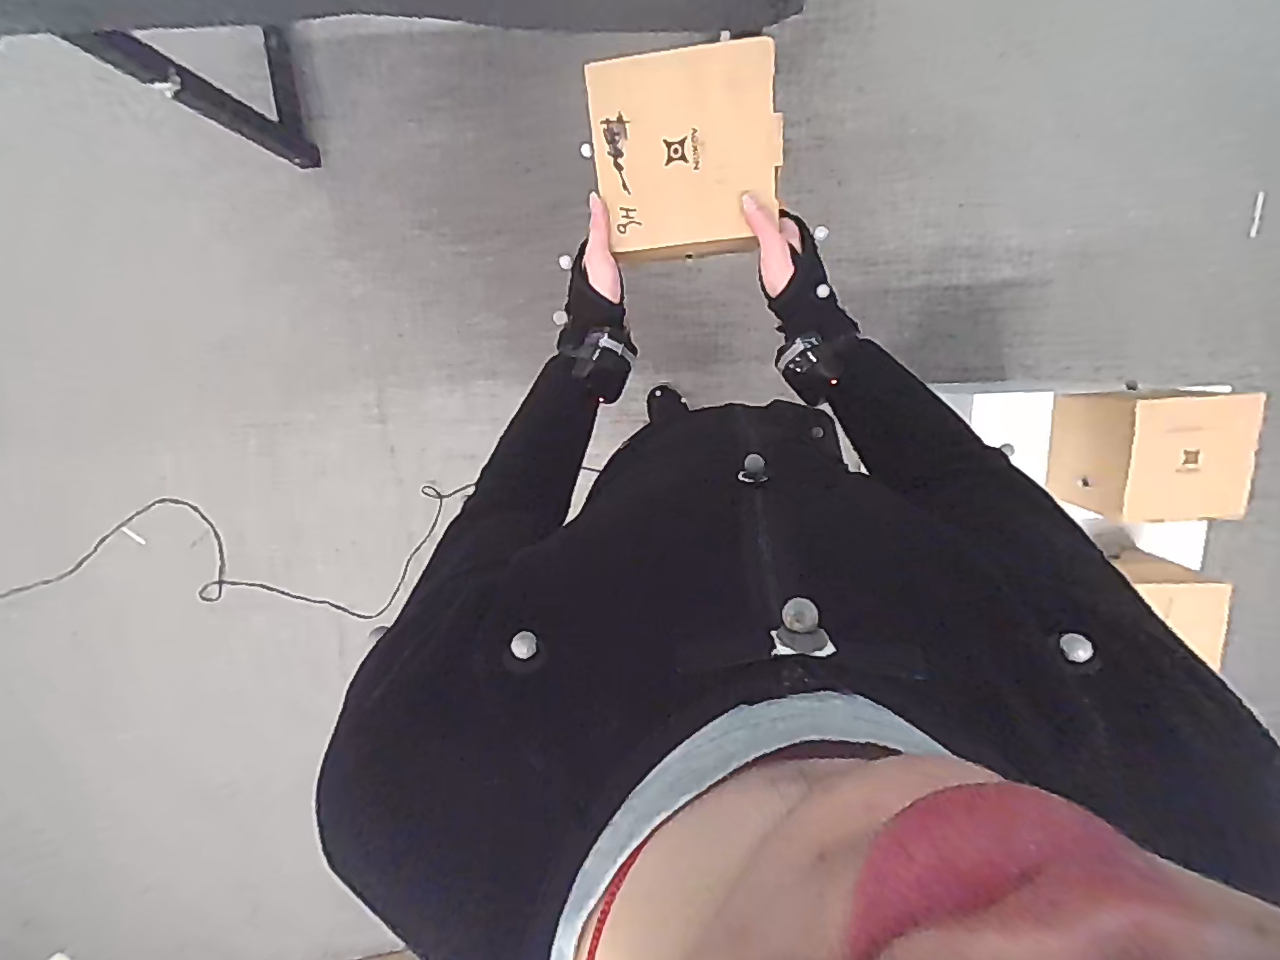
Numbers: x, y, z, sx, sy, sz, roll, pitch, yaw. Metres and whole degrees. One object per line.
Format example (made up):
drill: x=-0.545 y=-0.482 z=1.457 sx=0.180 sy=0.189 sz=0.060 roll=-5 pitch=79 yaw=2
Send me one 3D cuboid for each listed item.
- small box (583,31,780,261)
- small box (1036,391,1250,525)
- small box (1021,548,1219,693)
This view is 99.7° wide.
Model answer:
small box: x=0.040 y=-0.334 z=0.575 sx=0.179 sy=0.176 sz=0.168 roll=-5 pitch=106 yaw=2
small box: x=0.747 y=-0.041 z=0.826 sx=0.168 sy=0.176 sz=0.179 roll=-4 pitch=101 yaw=2
small box: x=0.757 y=0.220 z=0.875 sx=0.168 sy=0.176 sz=0.179 roll=-1 pitch=100 yaw=2
